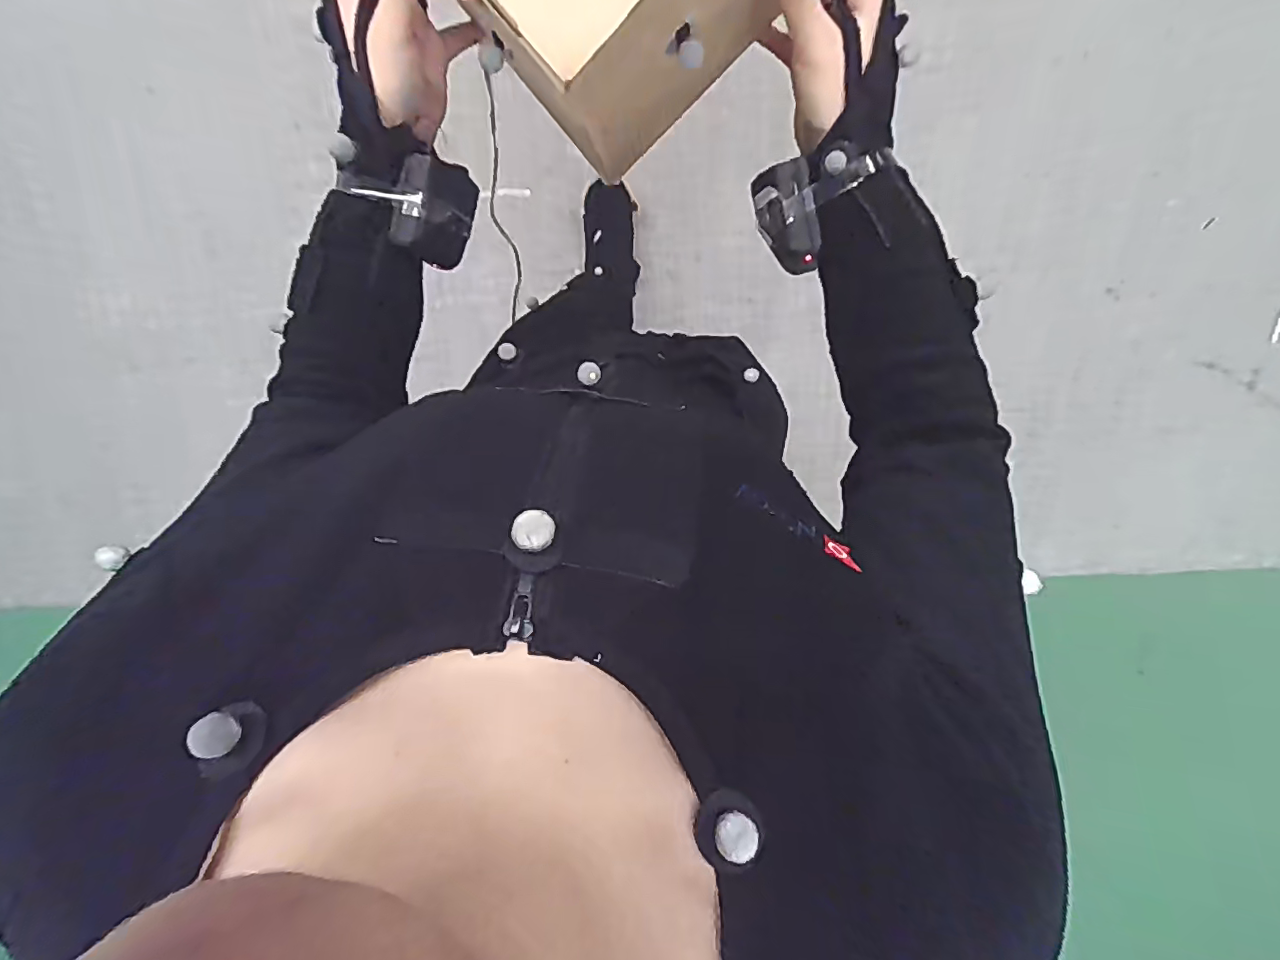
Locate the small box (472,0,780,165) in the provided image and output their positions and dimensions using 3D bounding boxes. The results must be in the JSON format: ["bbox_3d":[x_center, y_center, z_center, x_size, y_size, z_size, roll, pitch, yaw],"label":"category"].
[{"bbox_3d":[-0.017,-0.320,0.303,0.179,0.176,0.168,-40,98,15],"label":"small box"}]
